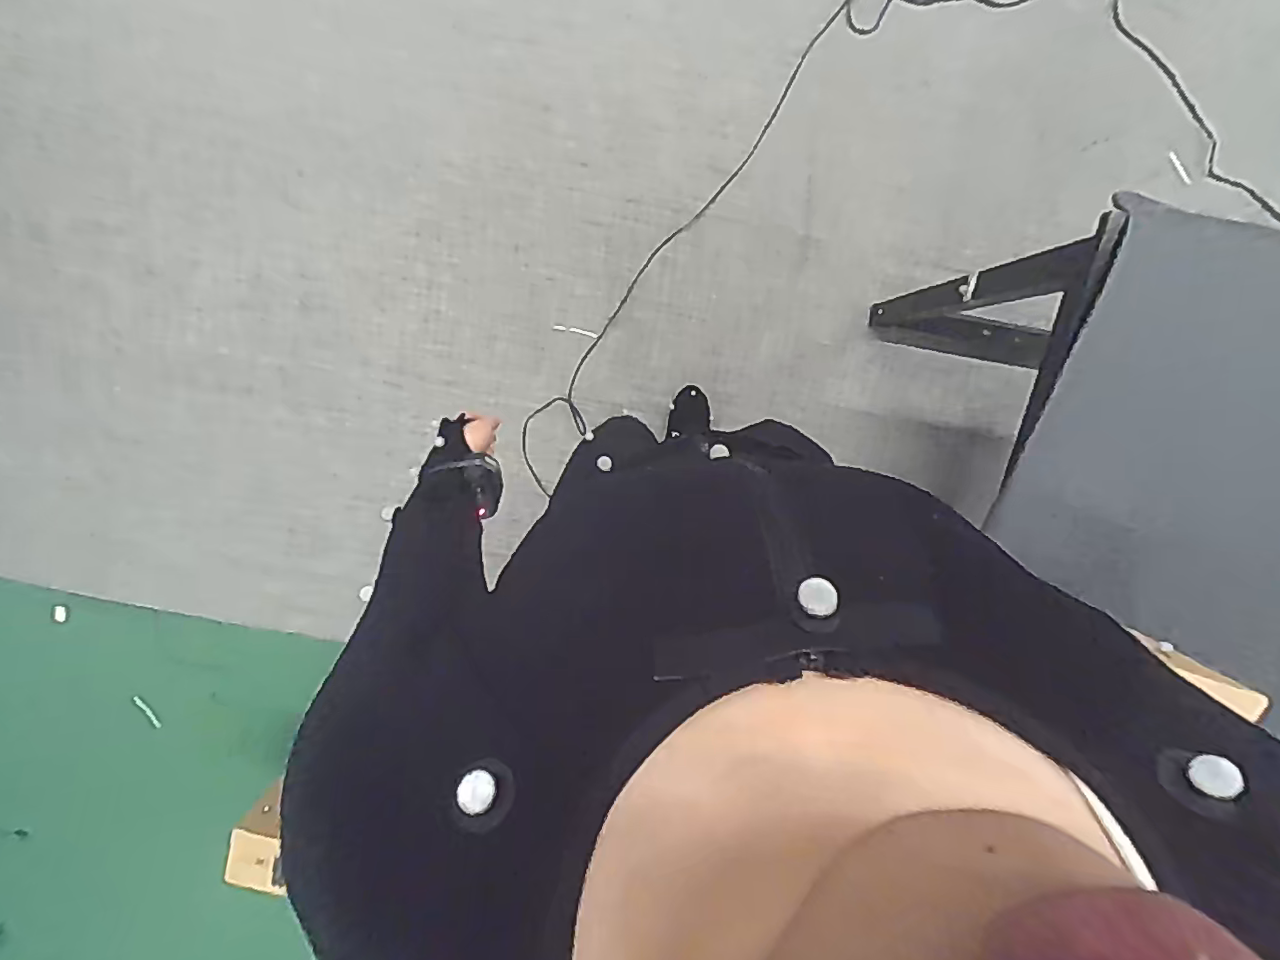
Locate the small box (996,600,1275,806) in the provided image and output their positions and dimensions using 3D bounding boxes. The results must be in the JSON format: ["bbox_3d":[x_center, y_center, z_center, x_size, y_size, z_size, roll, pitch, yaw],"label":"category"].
[{"bbox_3d":[0.628,0.279,0.710,0.179,0.176,0.168,18,99,-6],"label":"small box"}]
